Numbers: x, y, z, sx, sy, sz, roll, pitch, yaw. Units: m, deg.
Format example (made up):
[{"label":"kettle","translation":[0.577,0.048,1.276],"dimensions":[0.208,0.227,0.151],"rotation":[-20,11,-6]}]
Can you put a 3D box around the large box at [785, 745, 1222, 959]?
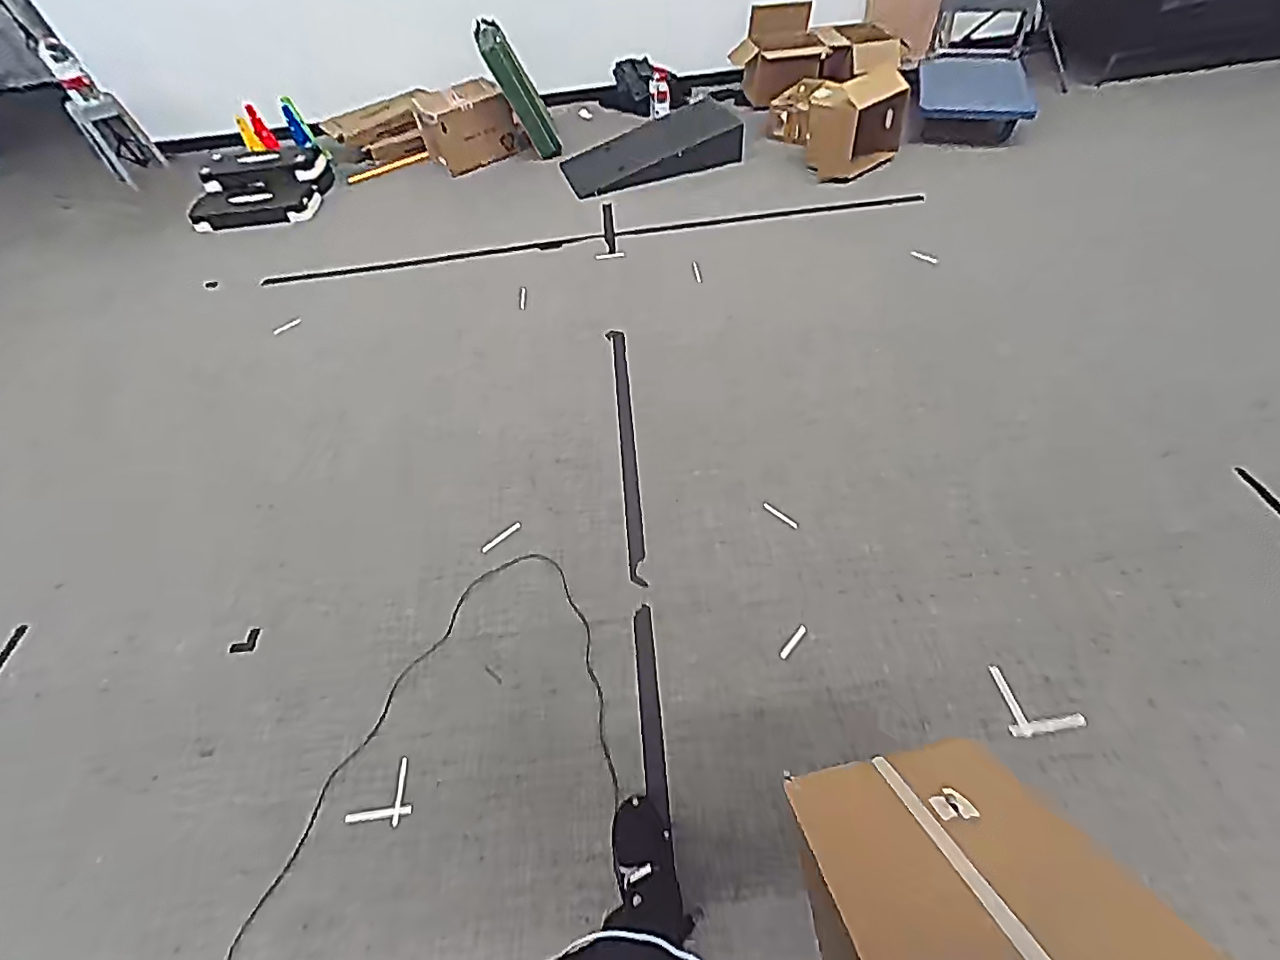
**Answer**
[{"label":"large box","translation":[0.418,0.615,0.682],"dimensions":[0.320,0.408,0.320],"rotation":[-11,93,0]}]
